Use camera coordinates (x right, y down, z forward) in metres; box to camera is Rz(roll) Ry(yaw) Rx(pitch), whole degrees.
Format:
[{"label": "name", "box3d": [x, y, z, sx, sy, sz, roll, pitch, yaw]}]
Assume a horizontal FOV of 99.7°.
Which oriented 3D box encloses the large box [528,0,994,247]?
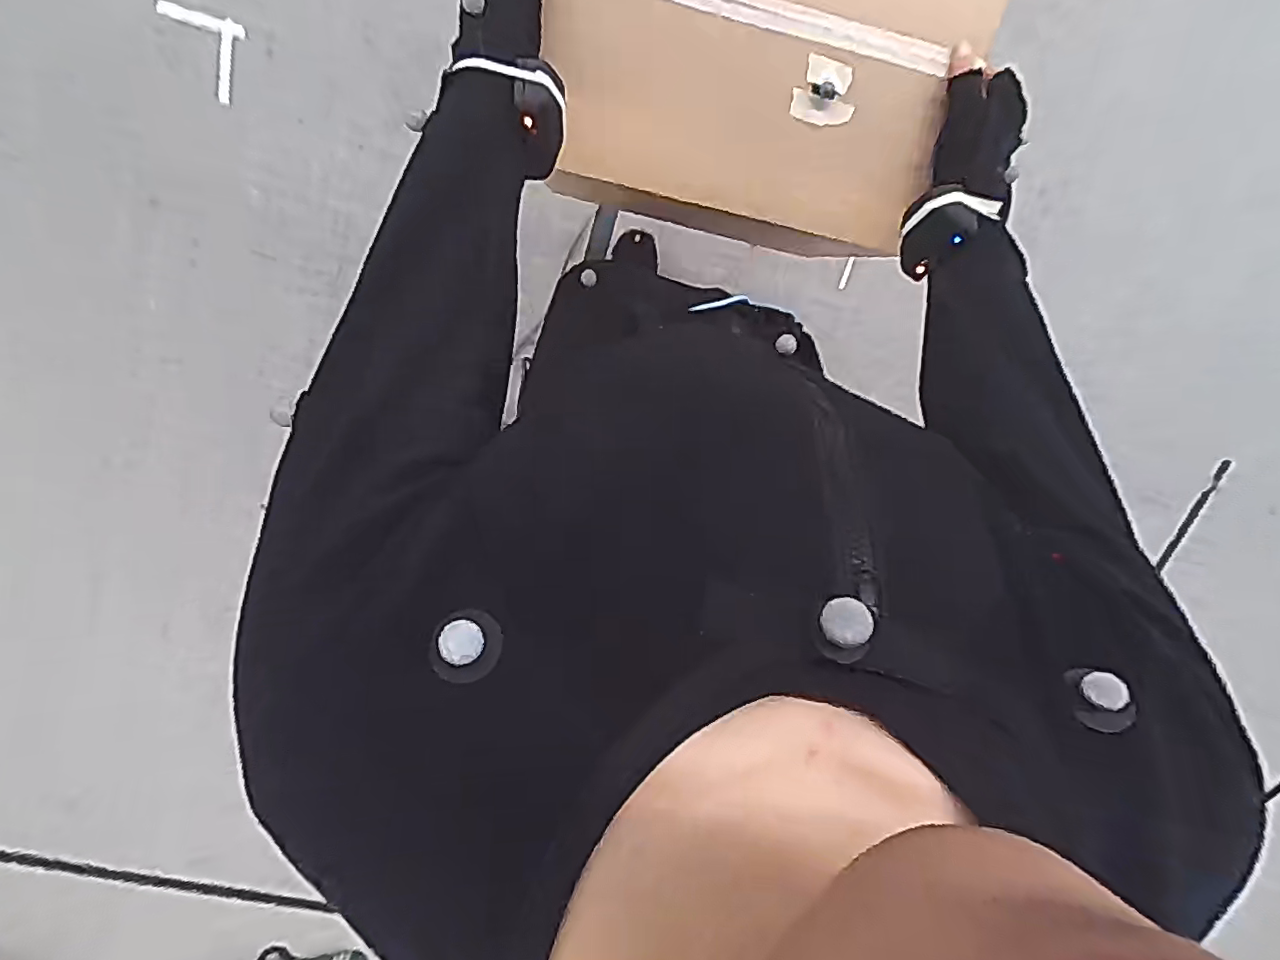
[{"label": "large box", "box3d": [0.105, -0.475, 0.622, 0.408, 0.320, 0.320, 10, 112, -8]}]
